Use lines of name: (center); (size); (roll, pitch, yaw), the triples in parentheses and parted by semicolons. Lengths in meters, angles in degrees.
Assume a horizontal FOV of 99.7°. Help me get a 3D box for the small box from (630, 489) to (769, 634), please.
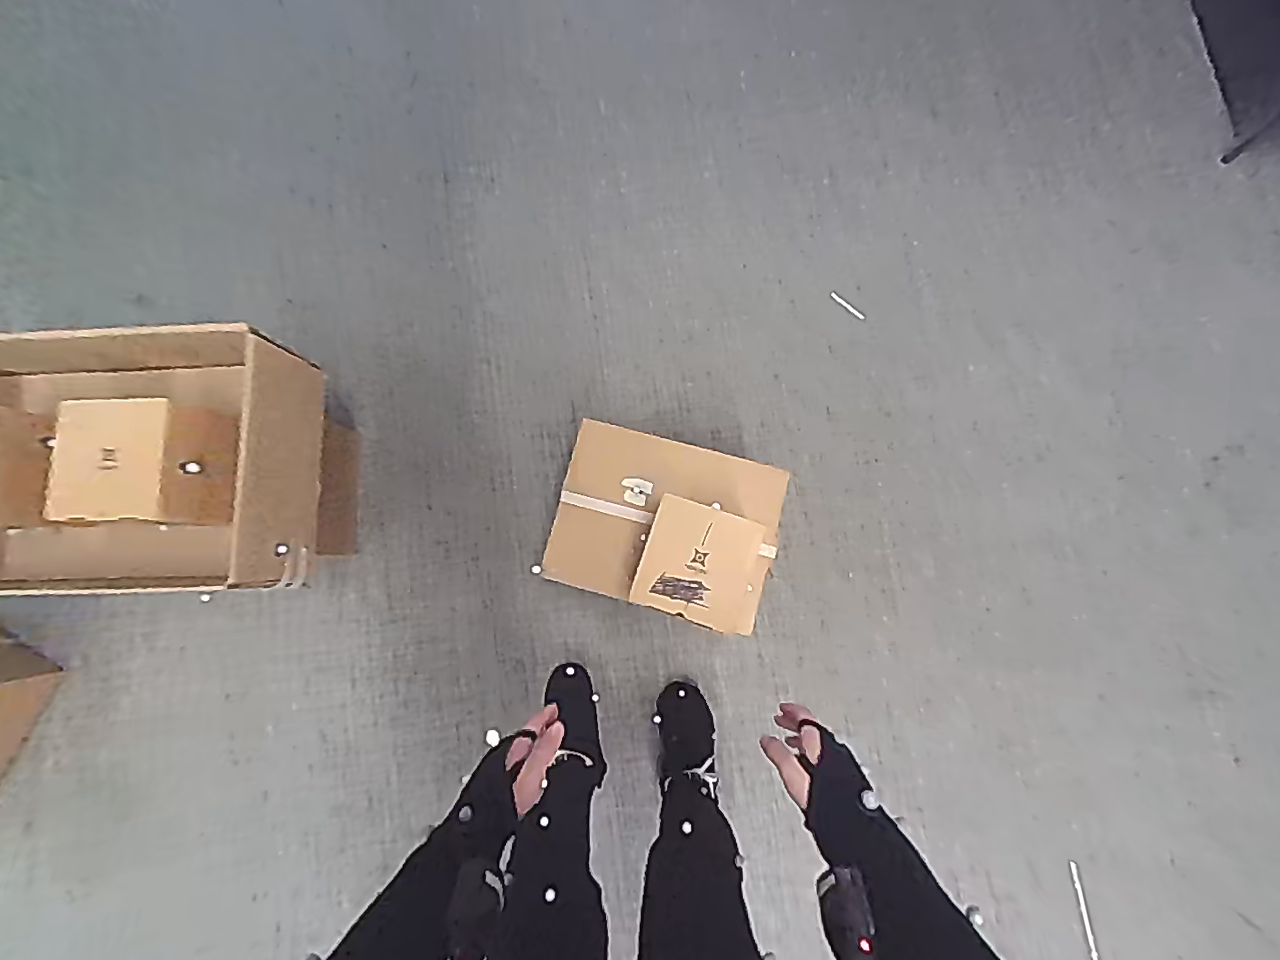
small box: (0.095, 0.128, 0.886); (0.168, 0.176, 0.179); (19, 85, 5)

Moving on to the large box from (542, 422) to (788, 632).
large box: (0.057, 0.099, 1.141); (0.408, 0.320, 0.320); (15, 83, 6)

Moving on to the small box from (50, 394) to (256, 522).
small box: (-0.740, -0.027, 0.842); (0.168, 0.176, 0.179); (-1, 84, 3)
